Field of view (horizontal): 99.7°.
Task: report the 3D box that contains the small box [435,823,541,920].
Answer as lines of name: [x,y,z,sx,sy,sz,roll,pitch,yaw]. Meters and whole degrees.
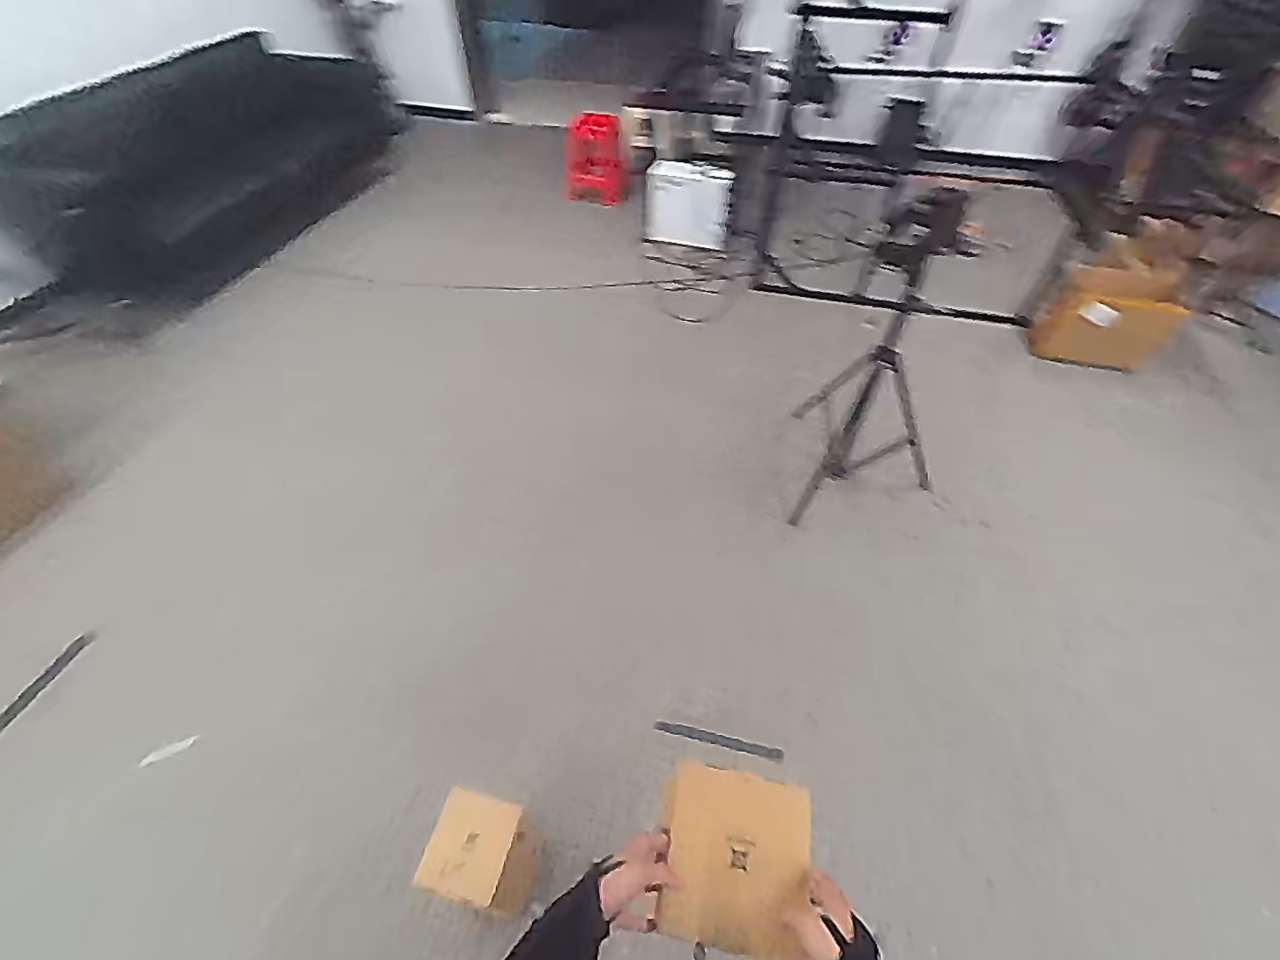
small box: [-0.342,0.891,1.261,0.168,0.176,0.179,11,49,11]

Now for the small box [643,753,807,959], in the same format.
small box: [0.102,0.475,0.679,0.168,0.176,0.179,13,49,3]

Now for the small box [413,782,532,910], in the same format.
small box: [-0.341,0.776,1.144,0.168,0.176,0.179,10,50,11]
